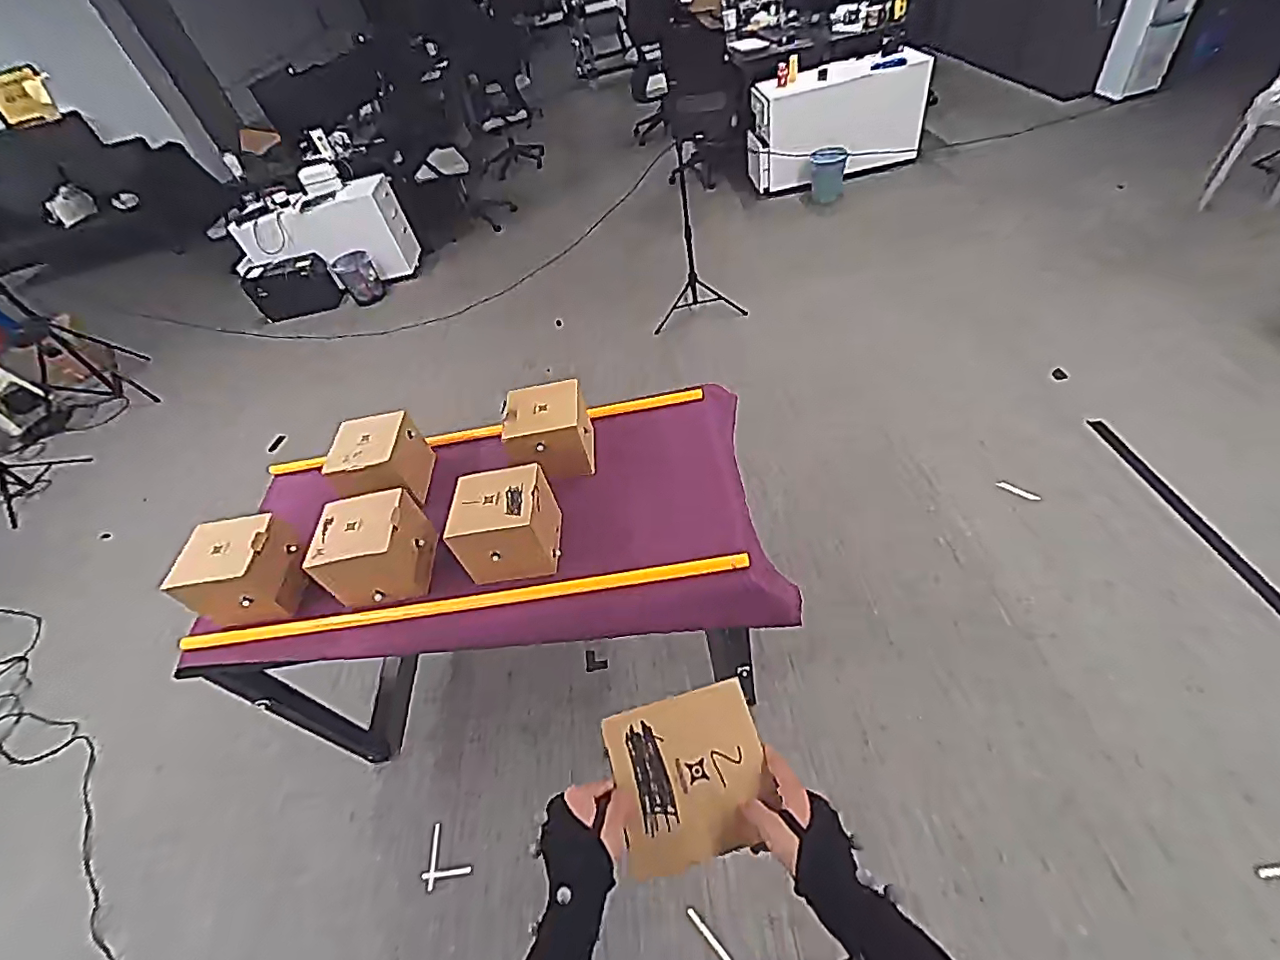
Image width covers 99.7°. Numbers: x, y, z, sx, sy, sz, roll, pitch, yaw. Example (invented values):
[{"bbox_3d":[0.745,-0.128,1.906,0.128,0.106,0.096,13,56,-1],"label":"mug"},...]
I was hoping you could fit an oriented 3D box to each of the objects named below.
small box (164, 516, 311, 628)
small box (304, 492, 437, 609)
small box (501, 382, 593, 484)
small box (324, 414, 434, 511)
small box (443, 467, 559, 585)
[{"bbox_3d":[-0.845,0.202,1.169,0.179,0.176,0.168,-9,47,3],"label":"small box"},{"bbox_3d":[-0.555,0.153,1.145,0.179,0.176,0.168,-11,47,4],"label":"small box"},{"bbox_3d":[-0.213,-0.106,1.295,0.179,0.176,0.168,-10,48,5],"label":"small box"},{"bbox_3d":[-0.628,-0.033,1.330,0.168,0.176,0.179,-10,49,5],"label":"small box"},{"bbox_3d":[-0.275,0.099,1.124,0.179,0.176,0.168,-9,46,7],"label":"small box"}]
